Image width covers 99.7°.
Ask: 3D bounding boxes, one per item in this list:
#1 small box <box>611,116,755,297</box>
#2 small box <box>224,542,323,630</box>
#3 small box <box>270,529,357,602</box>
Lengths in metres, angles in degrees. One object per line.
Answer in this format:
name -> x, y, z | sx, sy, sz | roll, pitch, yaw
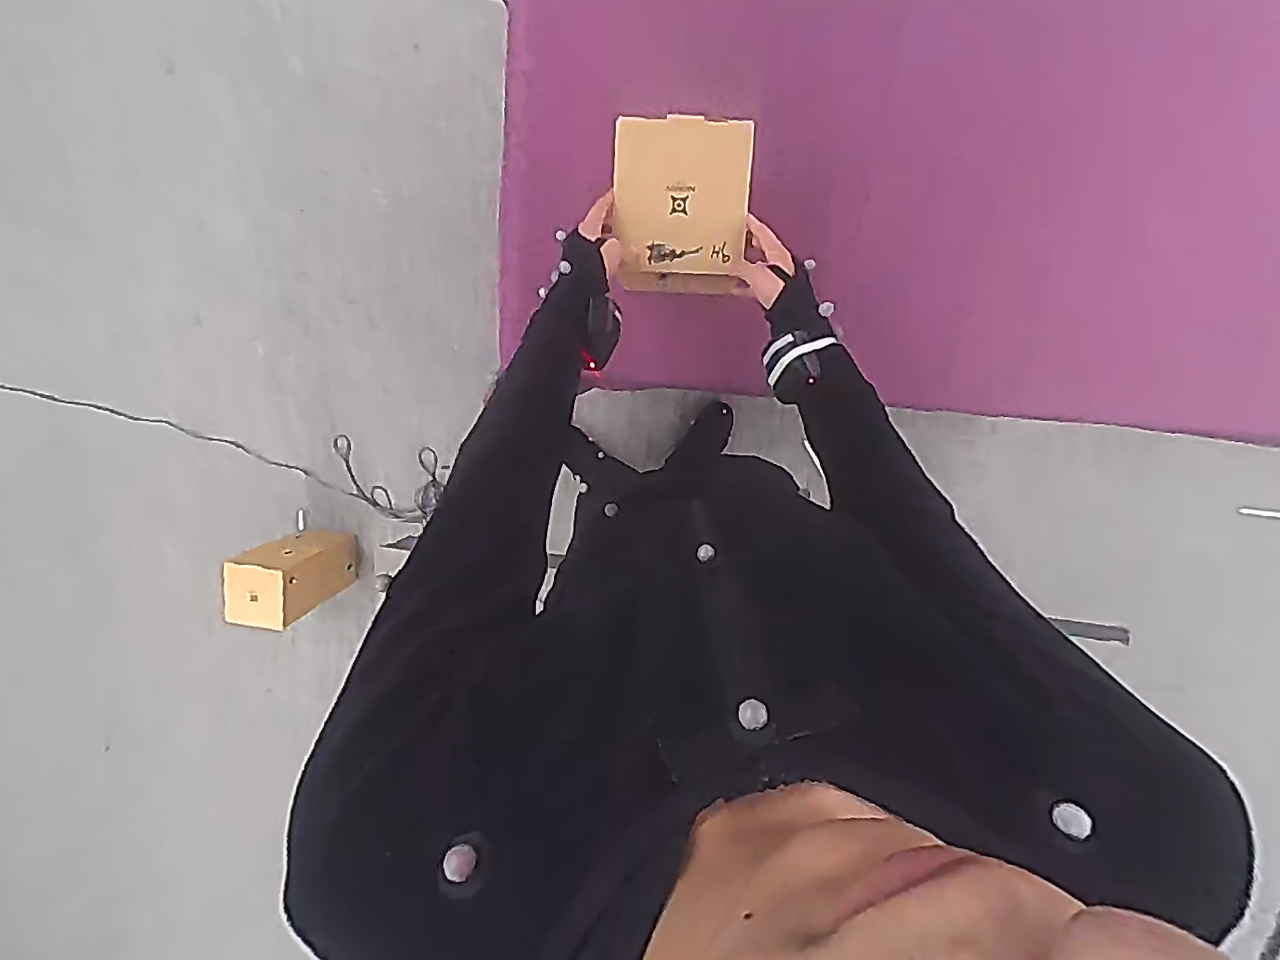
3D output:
small box -> 0.054, -0.357, 0.734 | 0.168, 0.176, 0.179 | 4, 101, 3
small box -> -1.018, 0.291, 1.512 | 0.168, 0.176, 0.179 | 8, 102, 2
small box -> -1.008, 0.259, 1.670 | 0.179, 0.176, 0.168 | 7, 102, 2
